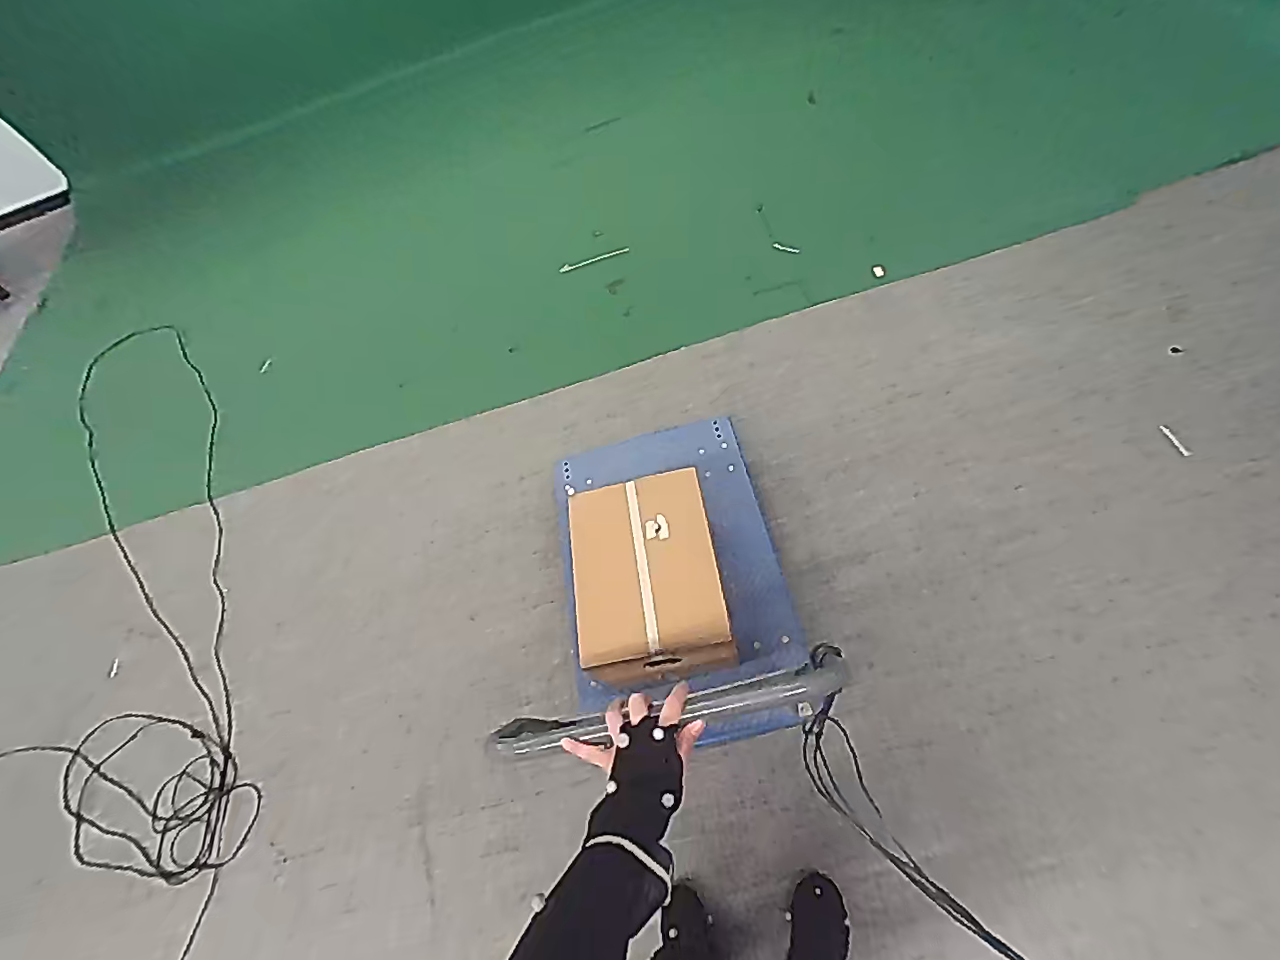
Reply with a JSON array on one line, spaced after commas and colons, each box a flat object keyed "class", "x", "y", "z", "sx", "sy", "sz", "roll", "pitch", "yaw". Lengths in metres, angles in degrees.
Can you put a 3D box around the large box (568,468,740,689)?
[{"class": "large box", "x": 0.036, "y": 0.244, "z": 1.286, "sx": 0.320, "sy": 0.320, "sz": 0.408, "roll": -12, "pitch": 60, "yaw": 6}]
